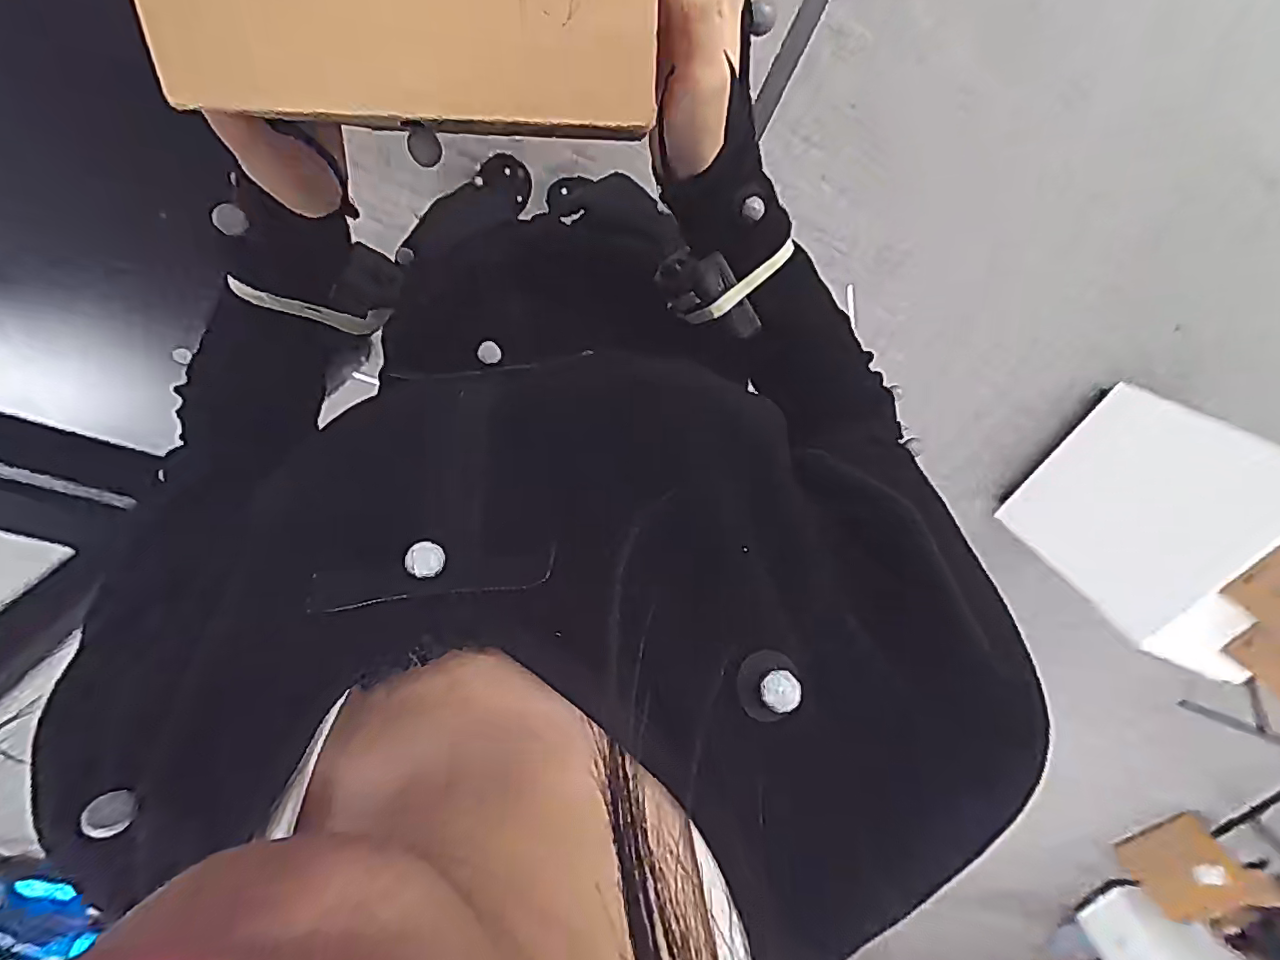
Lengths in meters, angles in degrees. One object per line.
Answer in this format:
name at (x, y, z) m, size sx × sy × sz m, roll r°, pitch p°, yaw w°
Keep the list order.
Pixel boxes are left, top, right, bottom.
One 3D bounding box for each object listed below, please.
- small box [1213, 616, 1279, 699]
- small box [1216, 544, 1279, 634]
small box at (1.529, 0.416, 1.259) m, size 0.179 × 0.176 × 0.168 m, roll 22°, pitch 115°, yaw -16°
small box at (1.410, 0.254, 1.148) m, size 0.179 × 0.176 × 0.168 m, roll 23°, pitch 116°, yaw -18°
